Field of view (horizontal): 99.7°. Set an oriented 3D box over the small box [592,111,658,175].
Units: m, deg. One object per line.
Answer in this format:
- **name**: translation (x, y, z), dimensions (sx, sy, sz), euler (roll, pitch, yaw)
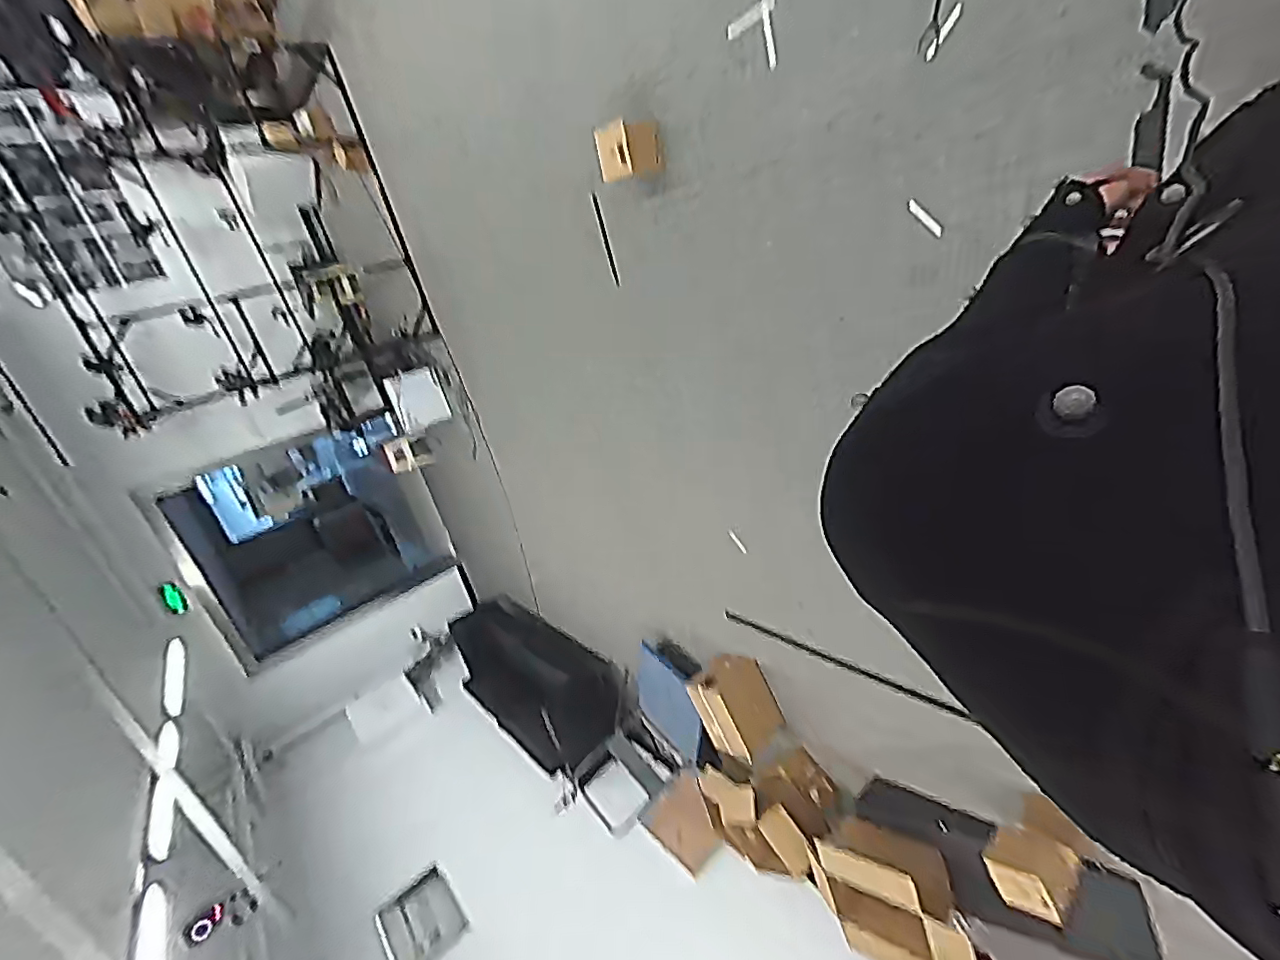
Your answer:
- **small box**: translation (-0.048, -1.249, 2.005), dimensions (0.179, 0.176, 0.168), euler (17, 127, 48)
